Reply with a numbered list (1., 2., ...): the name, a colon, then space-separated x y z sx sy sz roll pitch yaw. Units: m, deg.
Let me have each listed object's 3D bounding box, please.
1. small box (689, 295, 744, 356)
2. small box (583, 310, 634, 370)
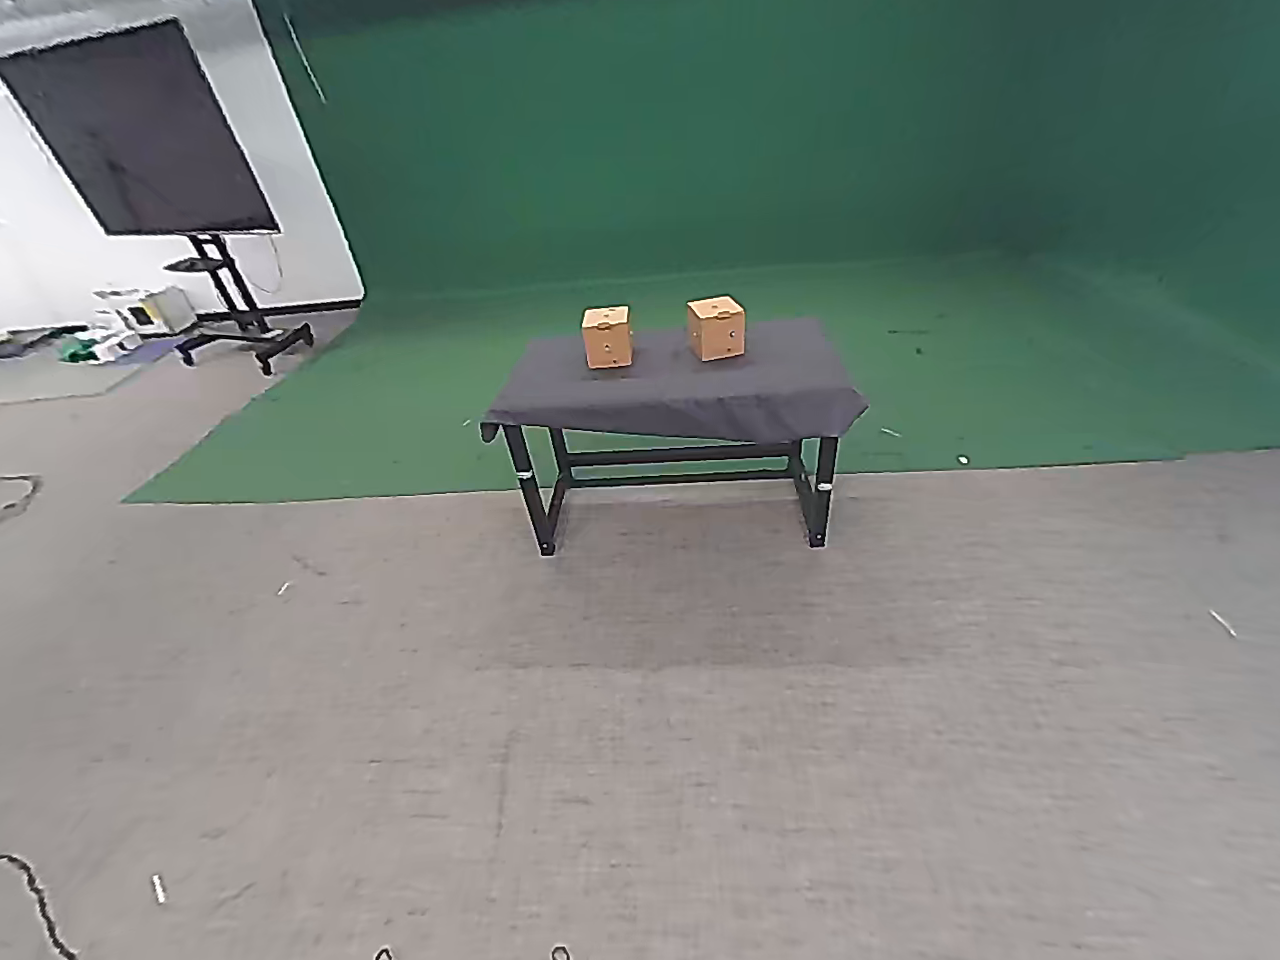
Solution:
1. small box: 0.283 -0.570 2.018 0.168 0.176 0.179 -9 37 -6
2. small box: -0.117 -0.527 2.063 0.168 0.176 0.179 -7 36 3
